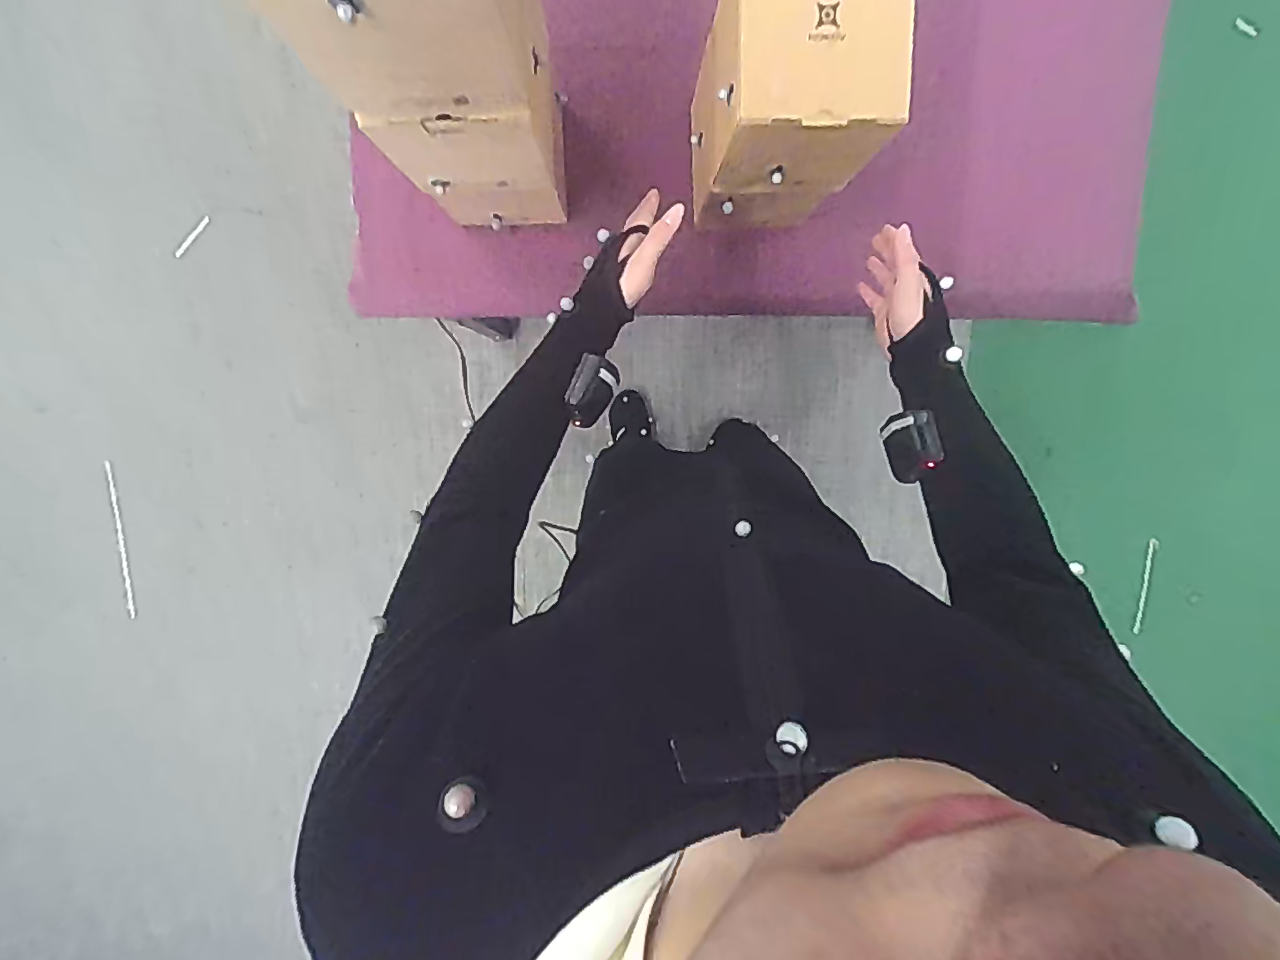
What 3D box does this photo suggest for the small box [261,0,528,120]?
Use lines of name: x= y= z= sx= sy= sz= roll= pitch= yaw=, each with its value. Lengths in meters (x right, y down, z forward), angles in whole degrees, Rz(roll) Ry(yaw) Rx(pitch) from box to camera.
small box: x=-0.184 y=-0.410 z=0.407 sx=0.168 sy=0.176 sz=0.179 roll=-2 pitch=98 yaw=0

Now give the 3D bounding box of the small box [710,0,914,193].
small box: x=0.168 y=-0.433 z=0.579 sx=0.168 sy=0.176 sz=0.179 roll=-2 pitch=99 yaw=-1

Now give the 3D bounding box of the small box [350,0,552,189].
small box: x=-0.188 y=-0.425 z=0.570 sx=0.168 sy=0.176 sz=0.179 roll=-2 pitch=97 yaw=-1

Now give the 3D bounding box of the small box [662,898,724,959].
small box: x=0.161 y=1.476 z=1.708 sx=0.168 sy=0.176 sz=0.179 roll=5 pitch=100 yaw=-2

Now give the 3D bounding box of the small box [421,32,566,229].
small box: x=-0.193 y=-0.458 z=0.731 sx=0.168 sy=0.176 sz=0.179 roll=-2 pitch=99 yaw=-1
